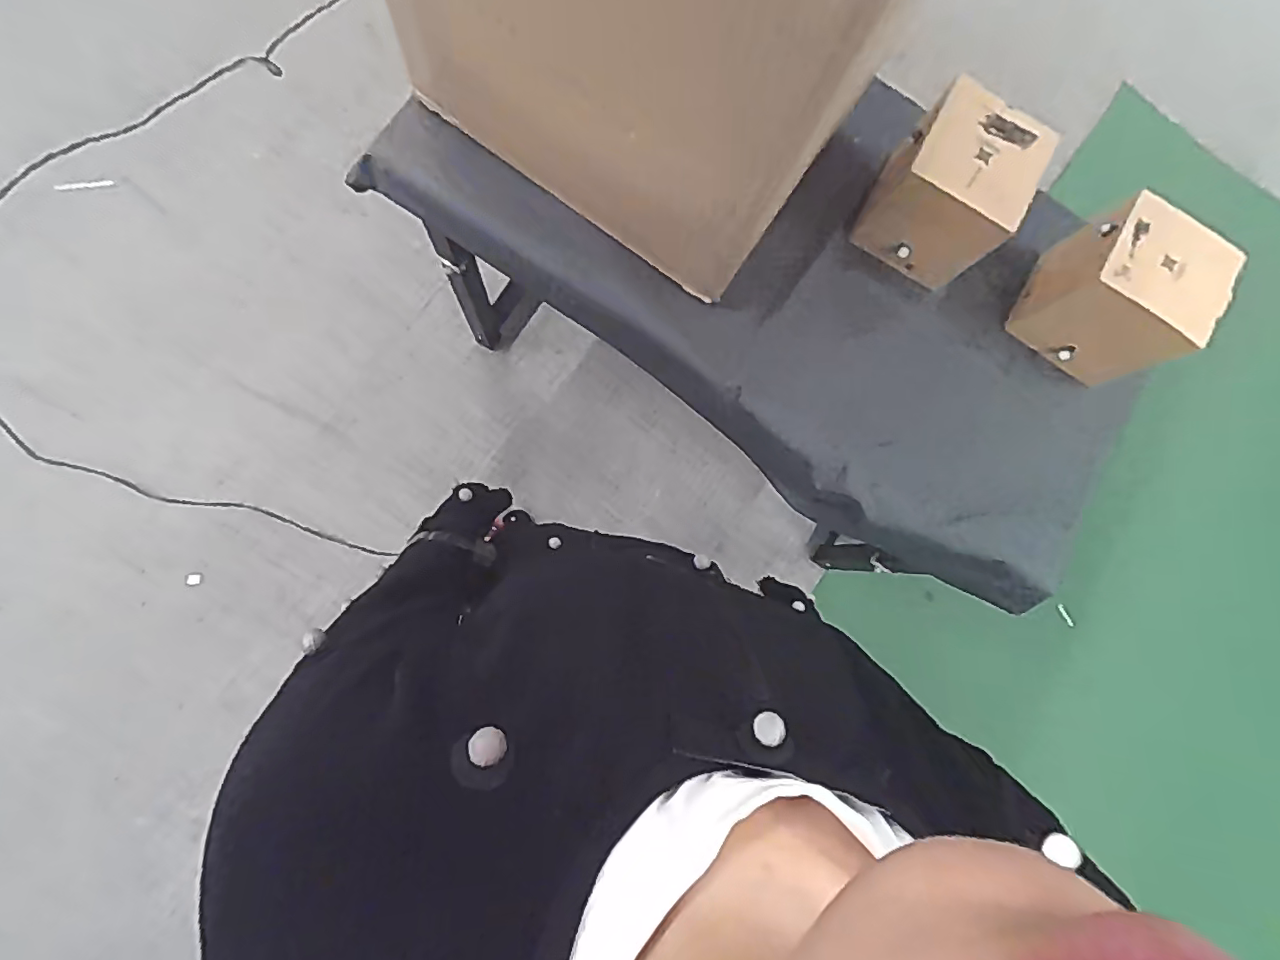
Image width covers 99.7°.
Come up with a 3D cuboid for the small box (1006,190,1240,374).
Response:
[{"bbox_3d":[0.715,-0.281,0.818,0.179,0.176,0.168,34,80,-2],"label":"small box"}]
